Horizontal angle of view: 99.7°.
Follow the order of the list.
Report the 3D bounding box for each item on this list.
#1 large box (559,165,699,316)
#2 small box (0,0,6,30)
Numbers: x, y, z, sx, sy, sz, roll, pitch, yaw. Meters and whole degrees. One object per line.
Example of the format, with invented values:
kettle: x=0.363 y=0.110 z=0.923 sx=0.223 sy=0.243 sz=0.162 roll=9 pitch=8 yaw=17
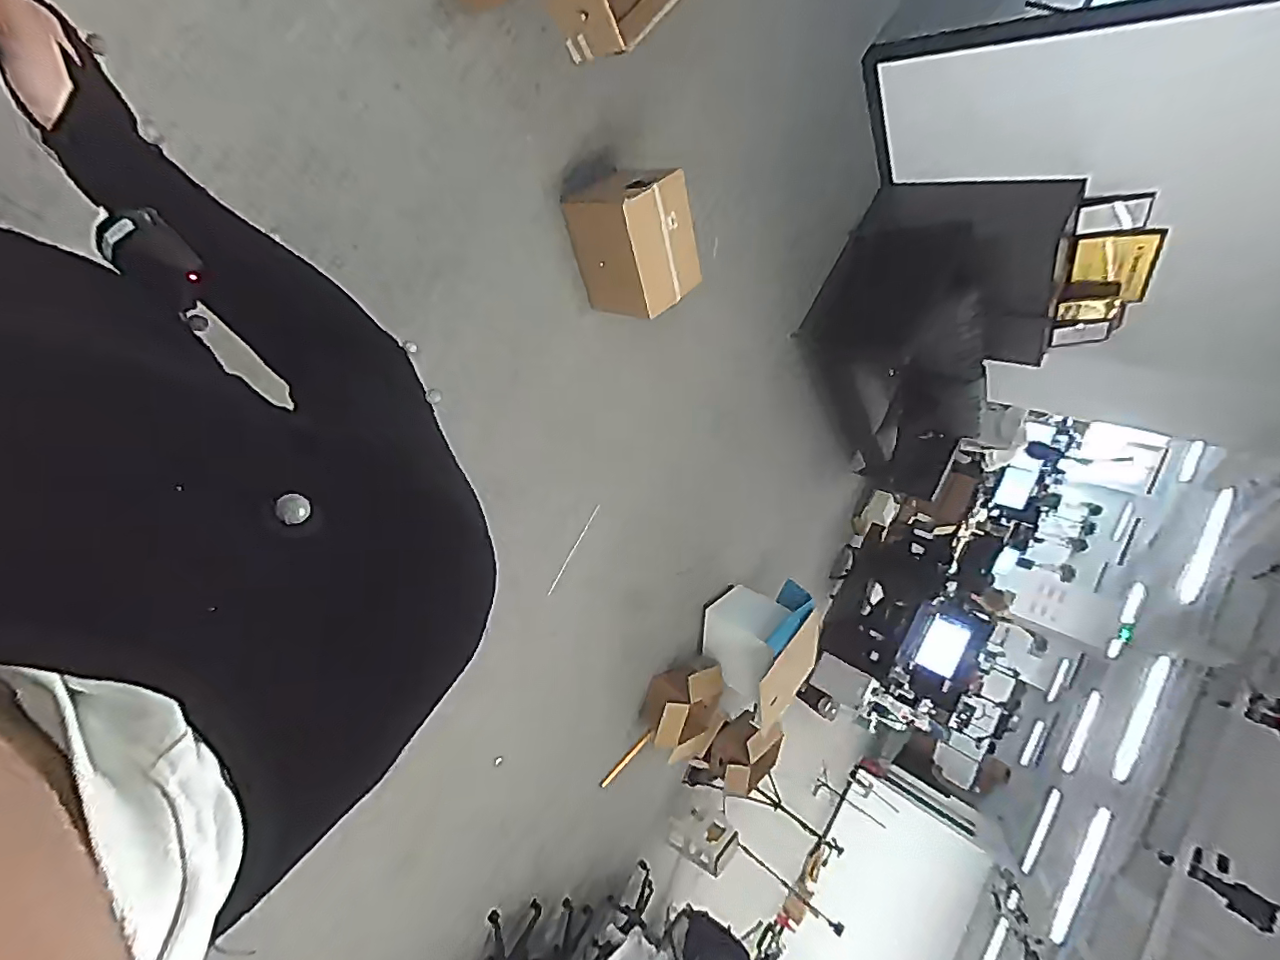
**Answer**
large box: x=-0.030 y=-0.861 z=1.955 sx=0.320 sy=0.320 sz=0.408 roll=-45 pitch=137 yaw=-27
small box: x=-0.576 y=-0.440 z=0.363 sx=0.168 sy=0.176 sz=0.179 roll=-13 pitch=122 yaw=-42
